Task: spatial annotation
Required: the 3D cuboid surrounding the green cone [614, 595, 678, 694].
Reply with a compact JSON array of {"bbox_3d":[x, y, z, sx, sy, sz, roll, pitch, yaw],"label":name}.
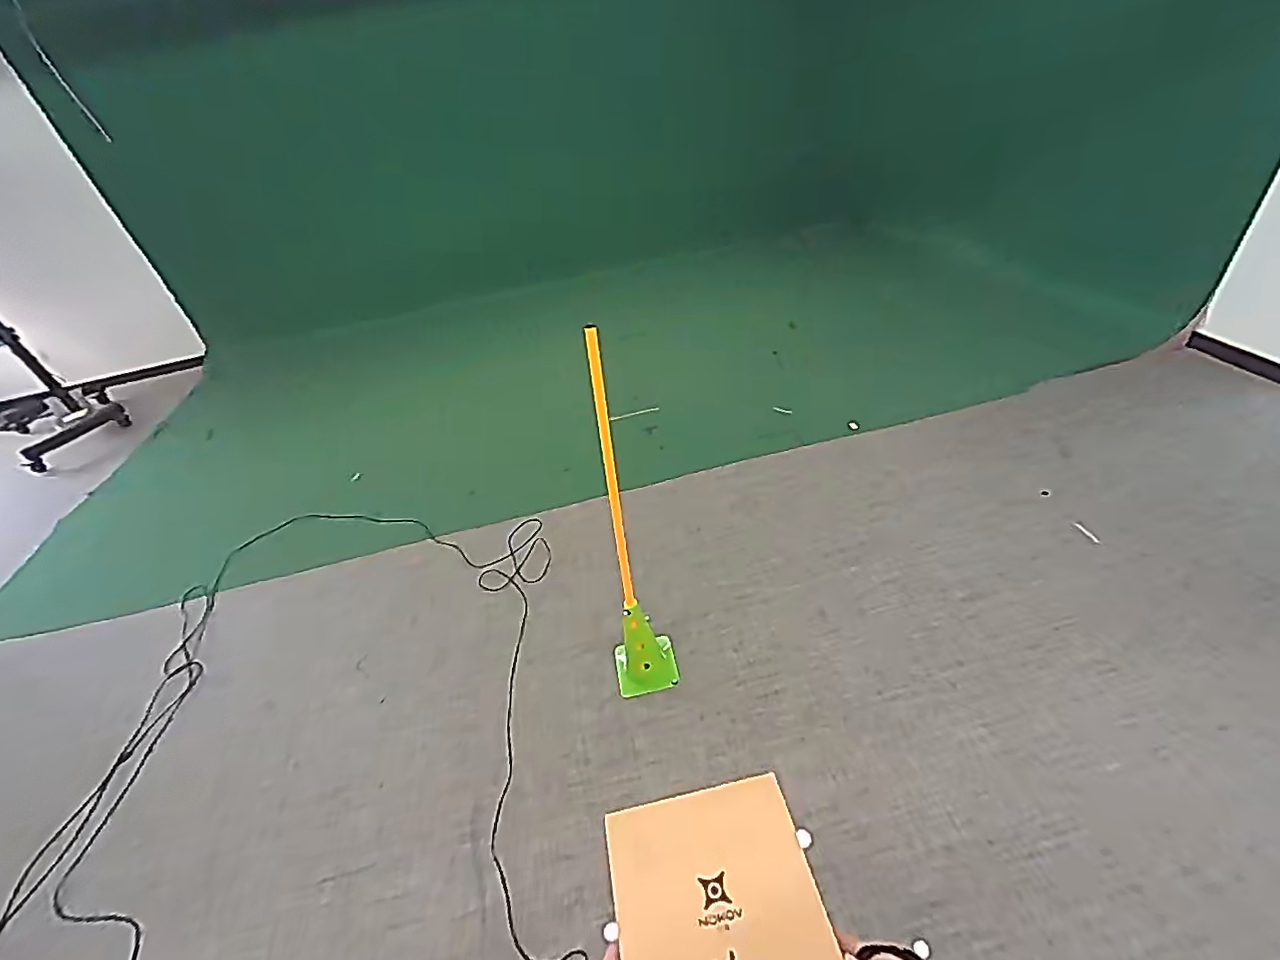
[{"bbox_3d":[-0.010,0.499,1.758,0.202,0.368,0.200,-13,39,-2],"label":"green cone"}]
